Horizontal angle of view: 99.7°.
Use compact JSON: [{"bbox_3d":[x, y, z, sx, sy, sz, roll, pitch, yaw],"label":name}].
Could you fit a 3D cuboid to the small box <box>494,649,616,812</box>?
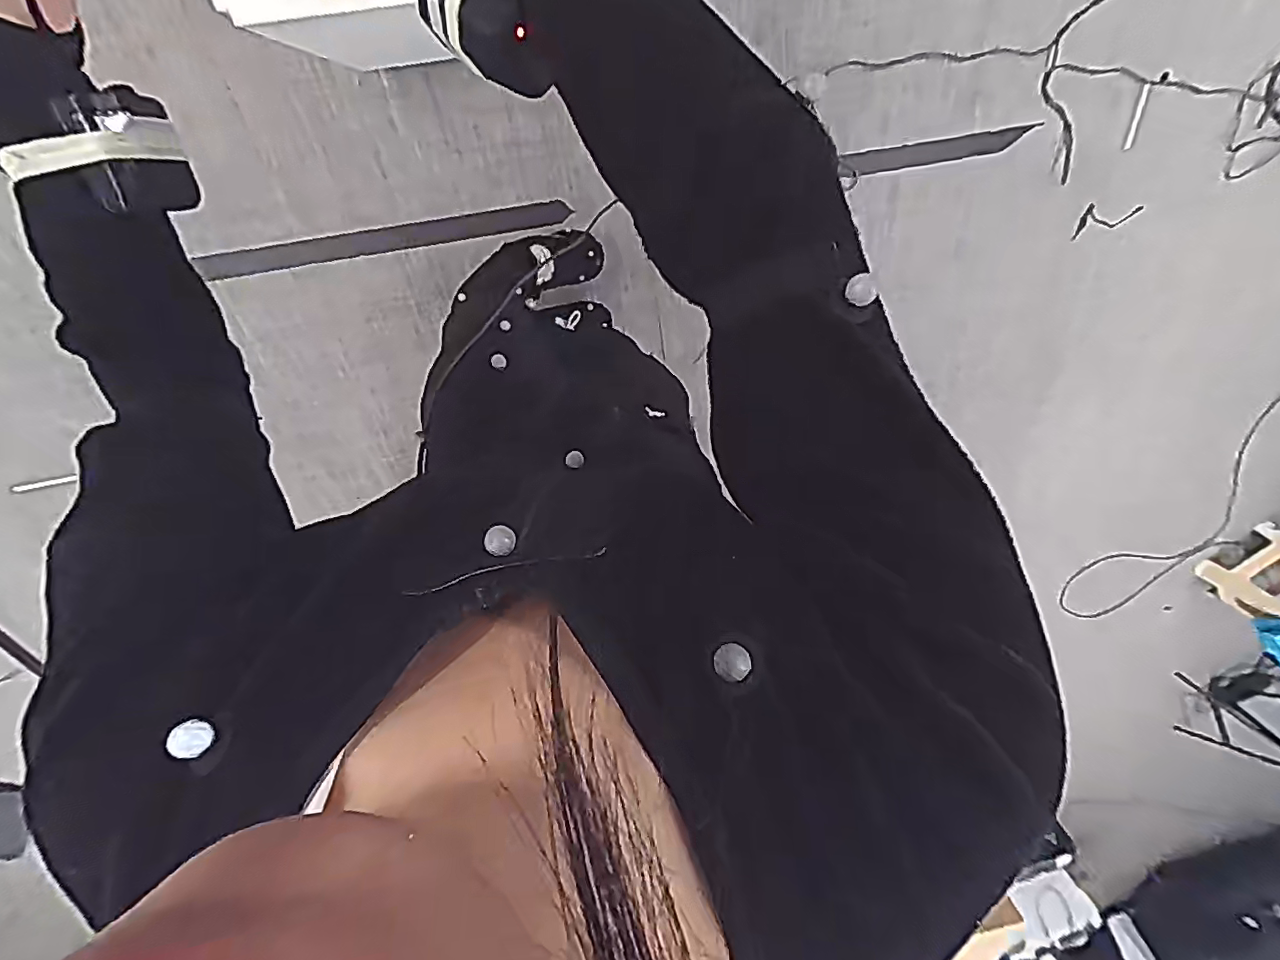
[{"bbox_3d":[-0.143,0.423,0.925,0.168,0.176,0.179,-13,123,-6],"label":"small box"}]
